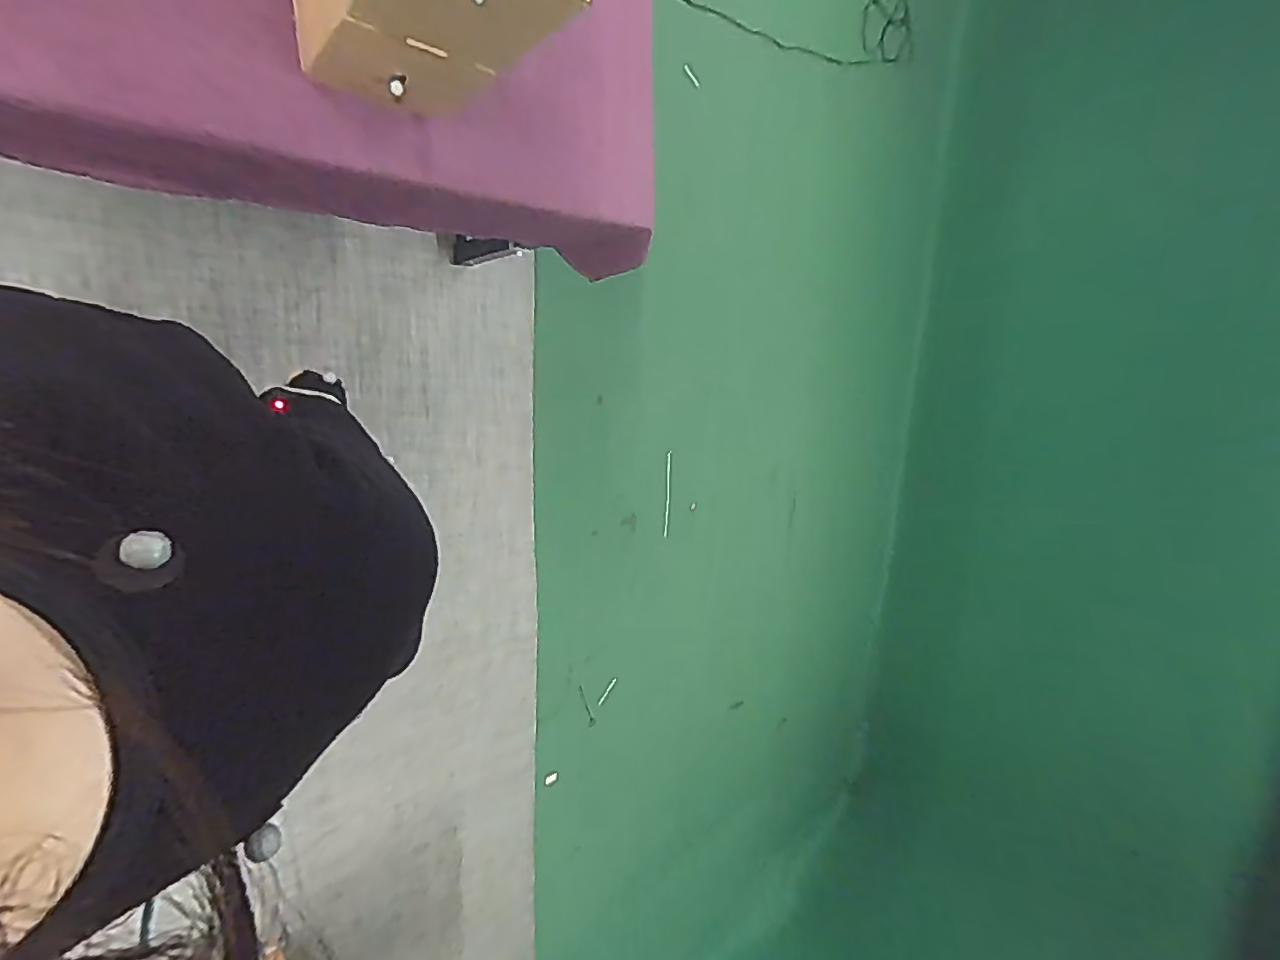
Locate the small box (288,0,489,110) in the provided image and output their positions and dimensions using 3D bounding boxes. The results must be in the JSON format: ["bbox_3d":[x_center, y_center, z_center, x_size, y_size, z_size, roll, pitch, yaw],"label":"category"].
[{"bbox_3d":[-0.289,-0.558,0.615,0.168,0.176,0.179,-13,109,-42],"label":"small box"}]

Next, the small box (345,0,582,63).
[{"bbox_3d":[-0.173,-0.530,0.501,0.179,0.176,0.168,-14,109,-42],"label":"small box"}]
